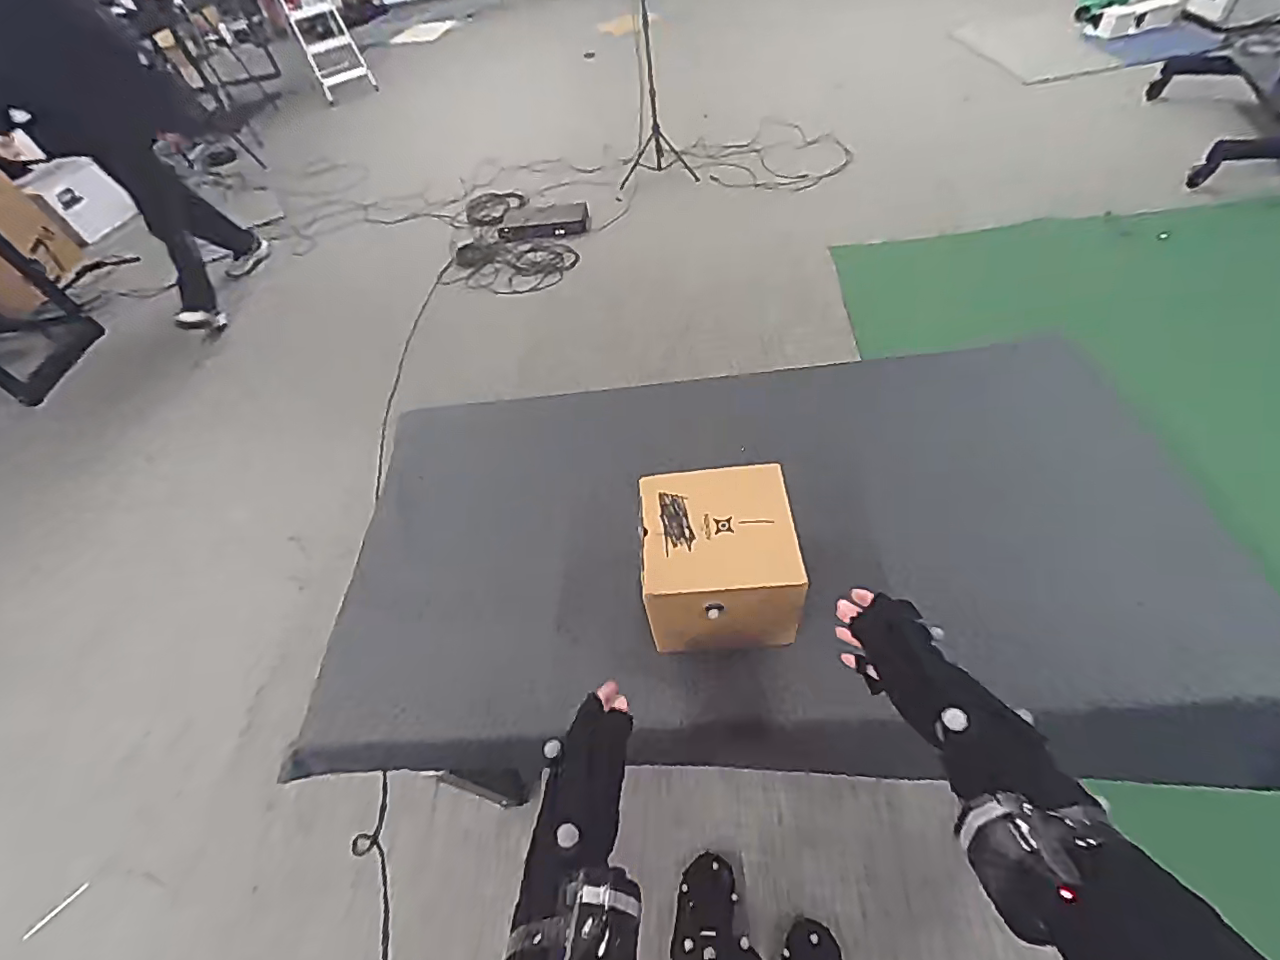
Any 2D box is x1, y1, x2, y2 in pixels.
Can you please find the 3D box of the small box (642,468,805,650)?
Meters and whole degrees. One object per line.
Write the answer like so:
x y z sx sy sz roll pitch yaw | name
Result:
0.101 0.107 0.691 0.179 0.176 0.168 -5 51 5 | small box
